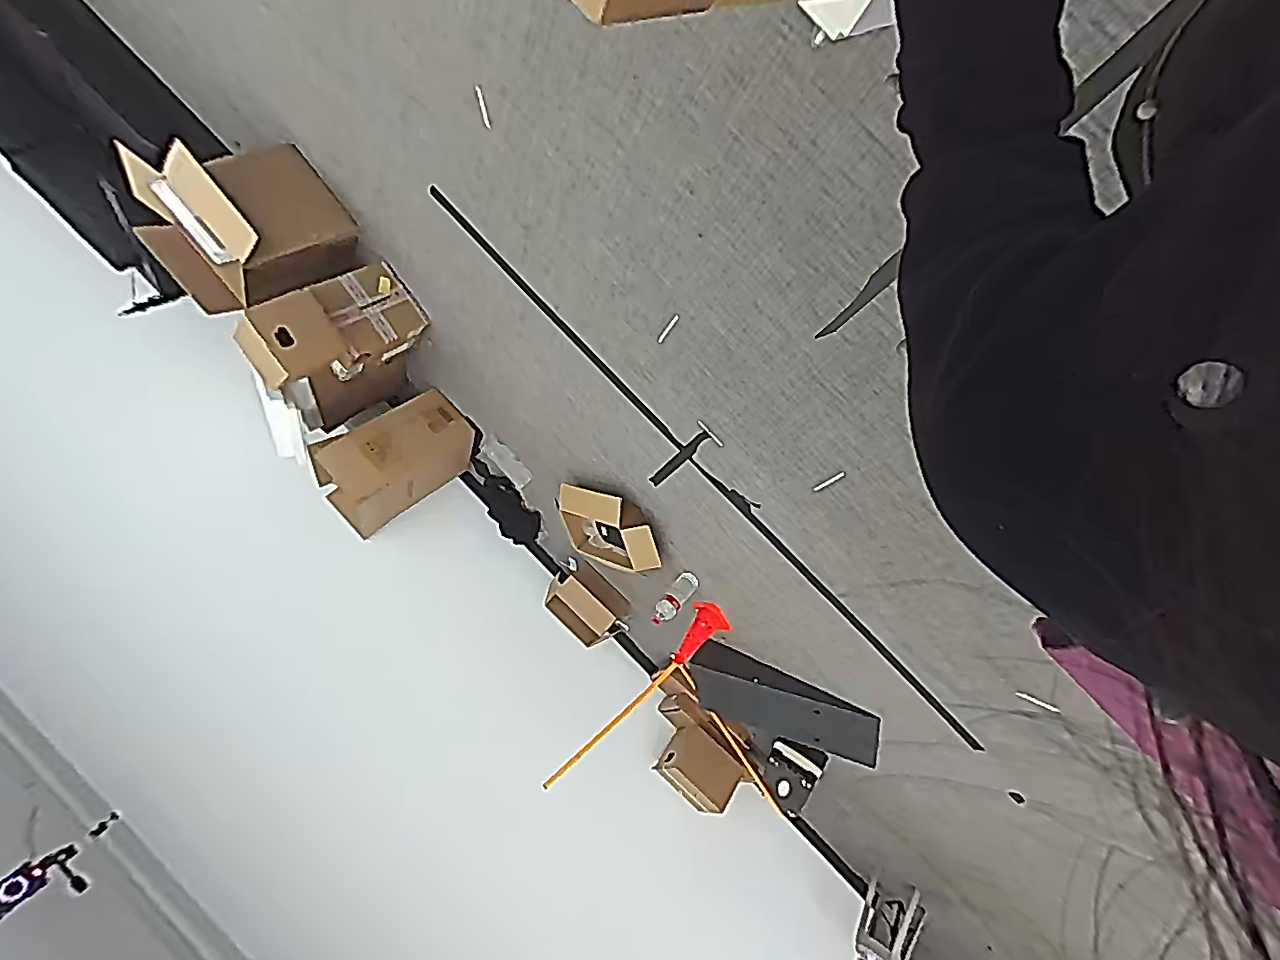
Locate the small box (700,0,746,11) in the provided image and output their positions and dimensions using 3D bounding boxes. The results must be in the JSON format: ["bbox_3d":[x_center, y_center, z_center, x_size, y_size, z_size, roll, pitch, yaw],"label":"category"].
[{"bbox_3d":[0.087,-0.570,0.475,0.179,0.176,0.168,47,146,1],"label":"small box"}]

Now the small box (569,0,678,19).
[{"bbox_3d":[-0.012,-0.480,0.383,0.179,0.176,0.168,46,147,1],"label":"small box"}]
